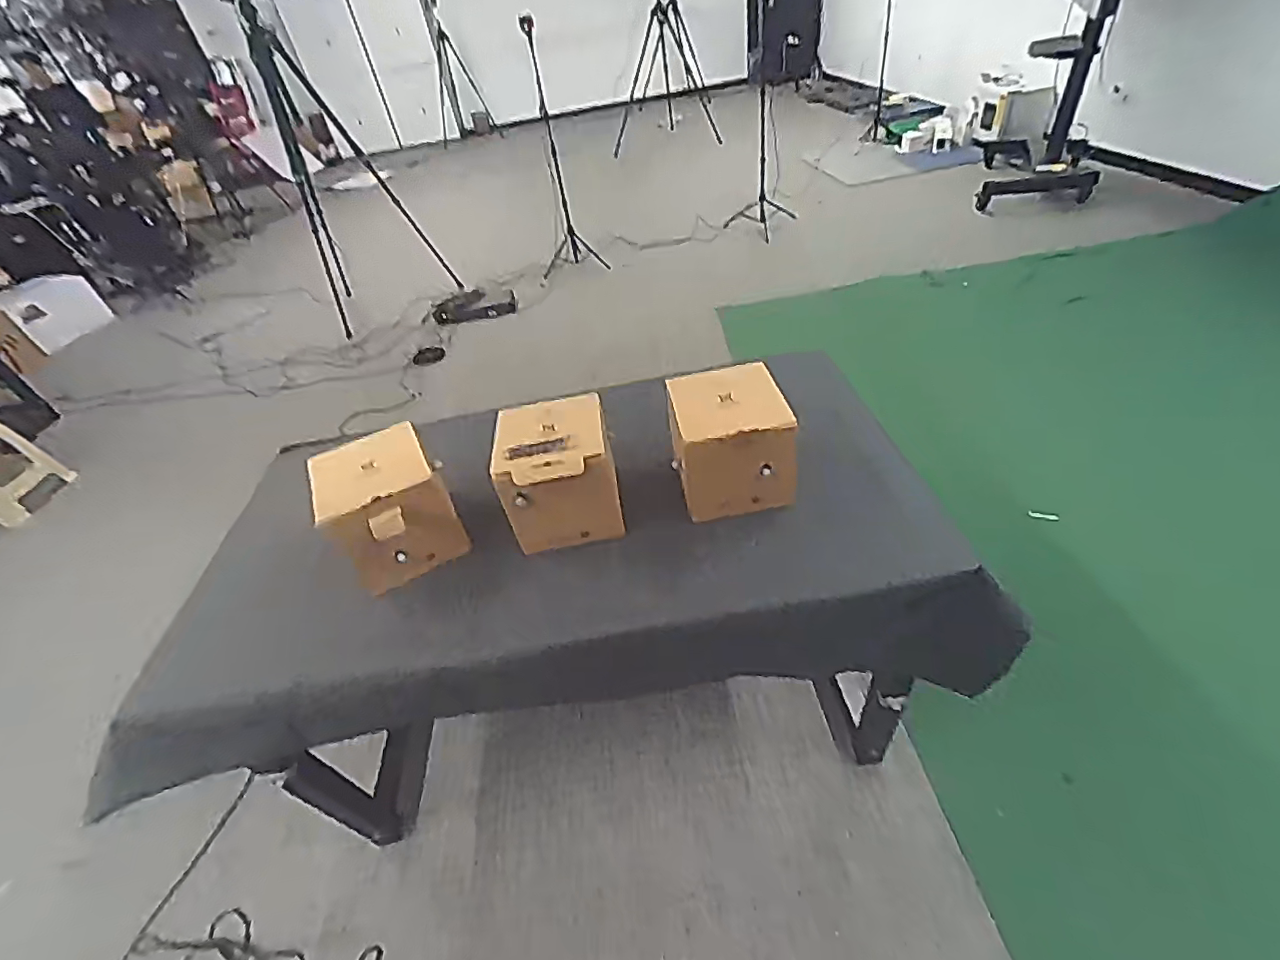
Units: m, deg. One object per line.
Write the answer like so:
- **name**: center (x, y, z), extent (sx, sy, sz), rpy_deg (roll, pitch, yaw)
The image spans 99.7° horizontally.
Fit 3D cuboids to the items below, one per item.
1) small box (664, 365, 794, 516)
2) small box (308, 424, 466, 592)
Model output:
- **small box**: center (0.139, -0.058, 0.869), extent (0.168, 0.176, 0.179), rpy_deg (-10, 41, -1)
- **small box**: center (-0.401, 0.043, 0.866), extent (0.168, 0.176, 0.179), rpy_deg (-26, 45, -17)
